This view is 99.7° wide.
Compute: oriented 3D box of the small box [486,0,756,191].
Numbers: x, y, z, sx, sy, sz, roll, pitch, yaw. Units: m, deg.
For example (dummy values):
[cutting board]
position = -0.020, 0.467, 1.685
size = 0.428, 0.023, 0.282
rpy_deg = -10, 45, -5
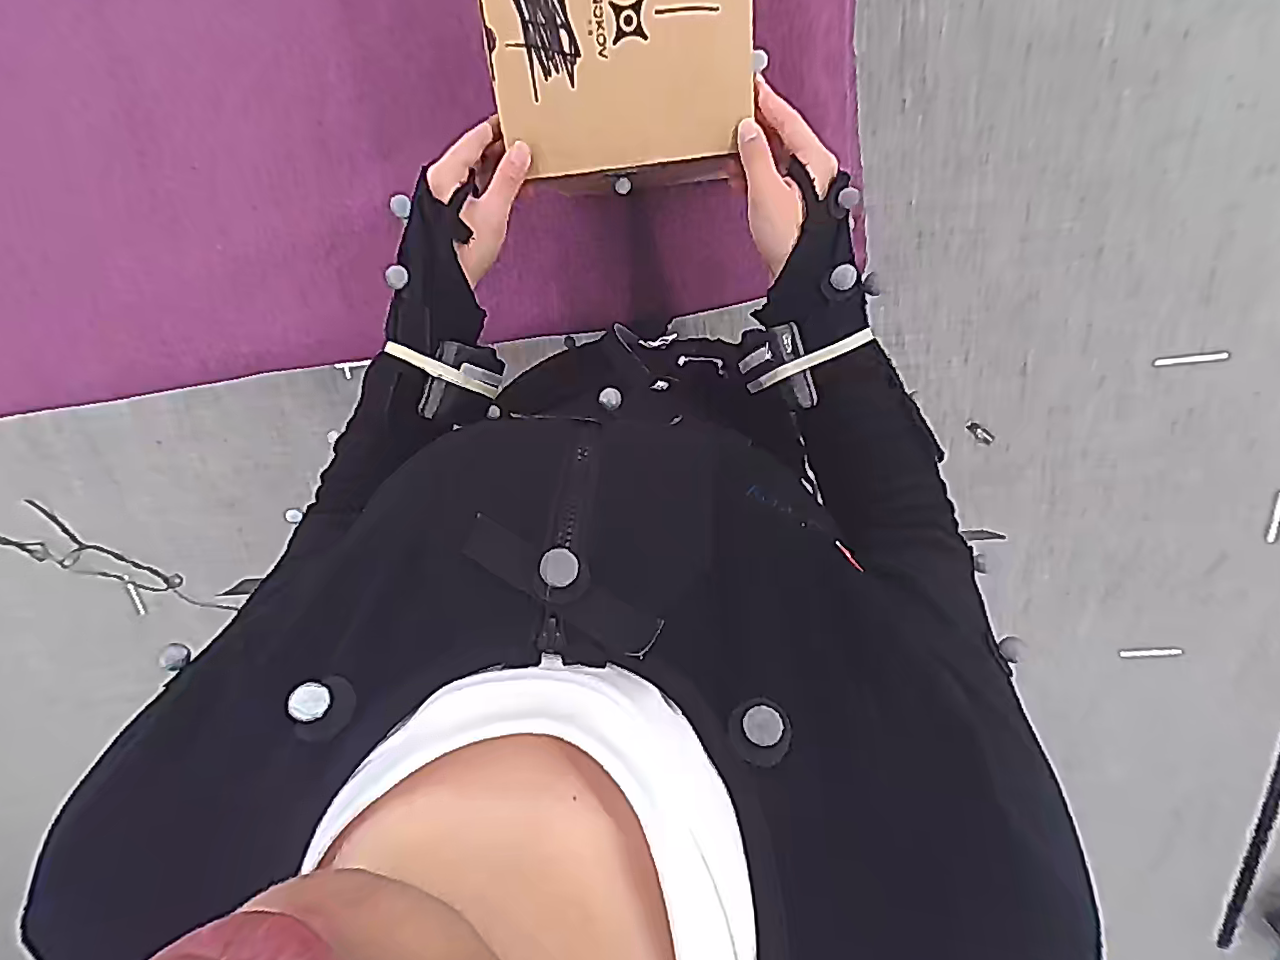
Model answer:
[small box]
position = -0.003, -0.329, 0.418
size = 0.179, 0.176, 0.168
rpy_deg = -2, 114, 8
